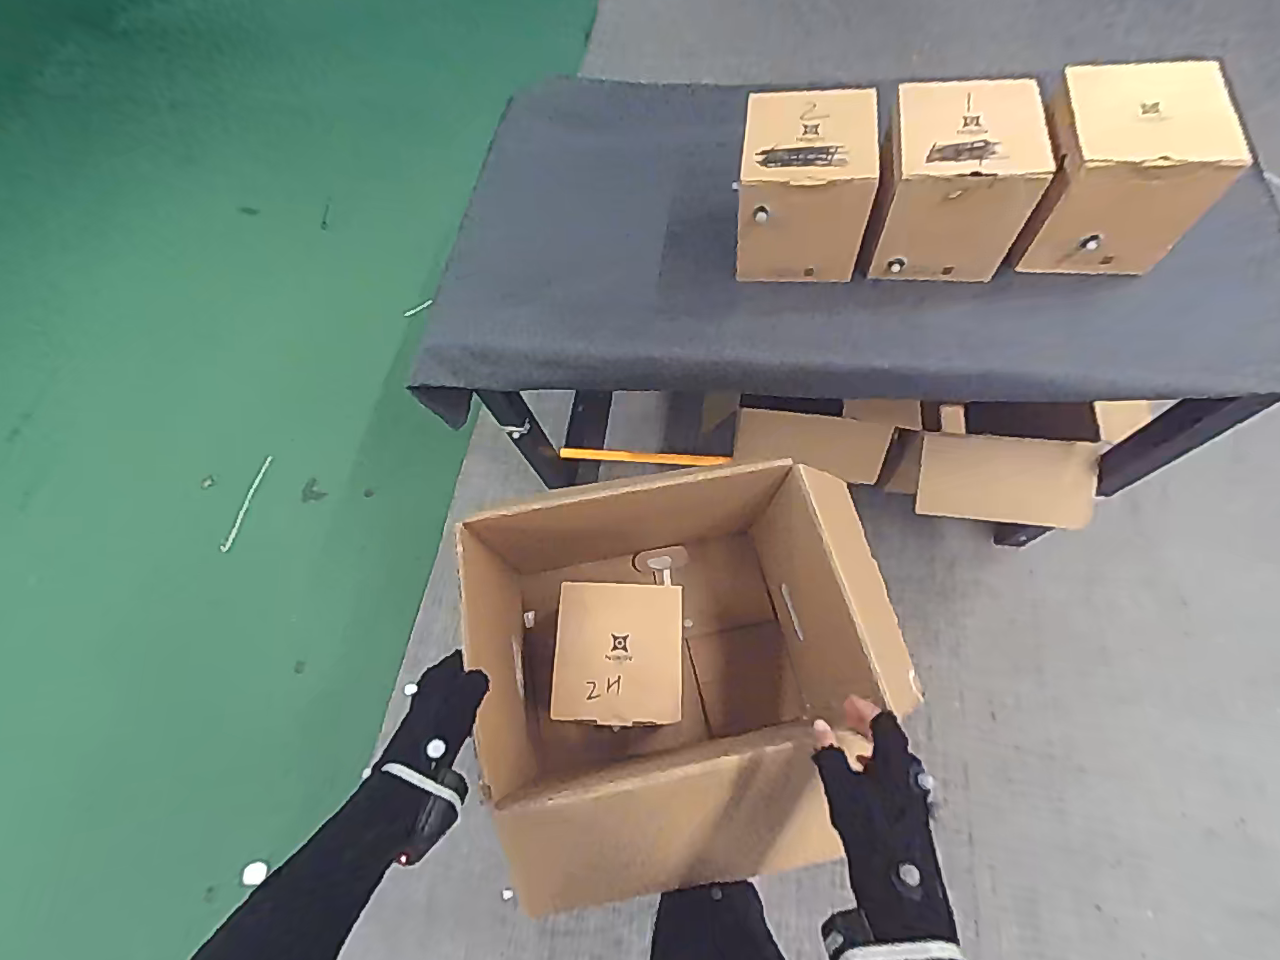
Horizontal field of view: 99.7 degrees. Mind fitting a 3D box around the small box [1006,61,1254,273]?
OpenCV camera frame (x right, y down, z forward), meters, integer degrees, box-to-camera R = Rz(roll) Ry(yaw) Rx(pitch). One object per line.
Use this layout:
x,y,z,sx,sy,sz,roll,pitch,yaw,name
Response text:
0.605,-0.398,0.701,0.168,0.176,0.179,5,68,11,small box
